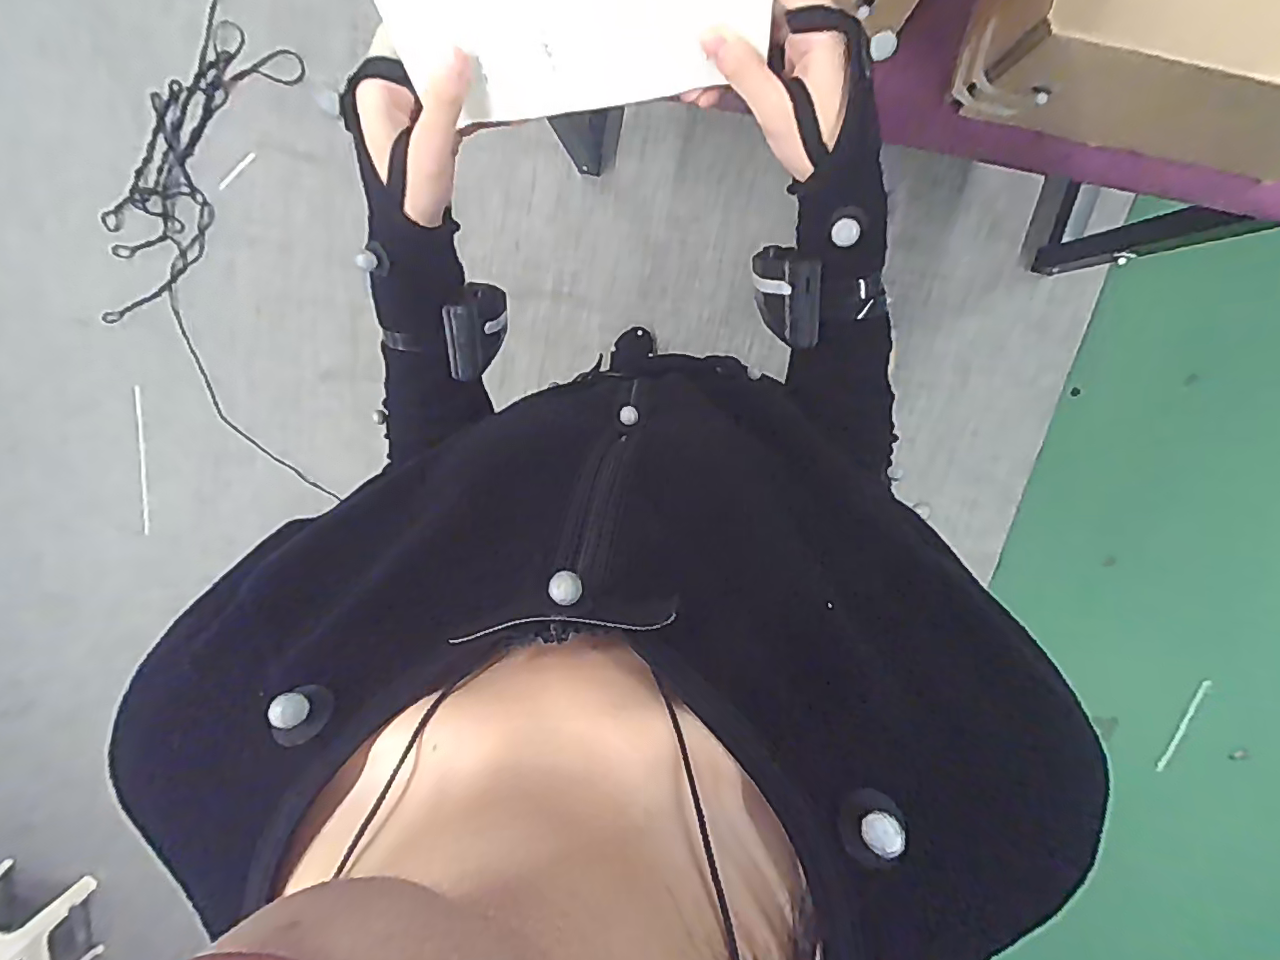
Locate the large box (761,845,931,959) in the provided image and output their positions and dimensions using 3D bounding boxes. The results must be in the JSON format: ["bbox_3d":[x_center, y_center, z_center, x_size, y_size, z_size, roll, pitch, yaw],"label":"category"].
[{"bbox_3d":[0.588,1.348,1.615,0.408,0.320,0.320,-2,103,4],"label":"large box"}]
